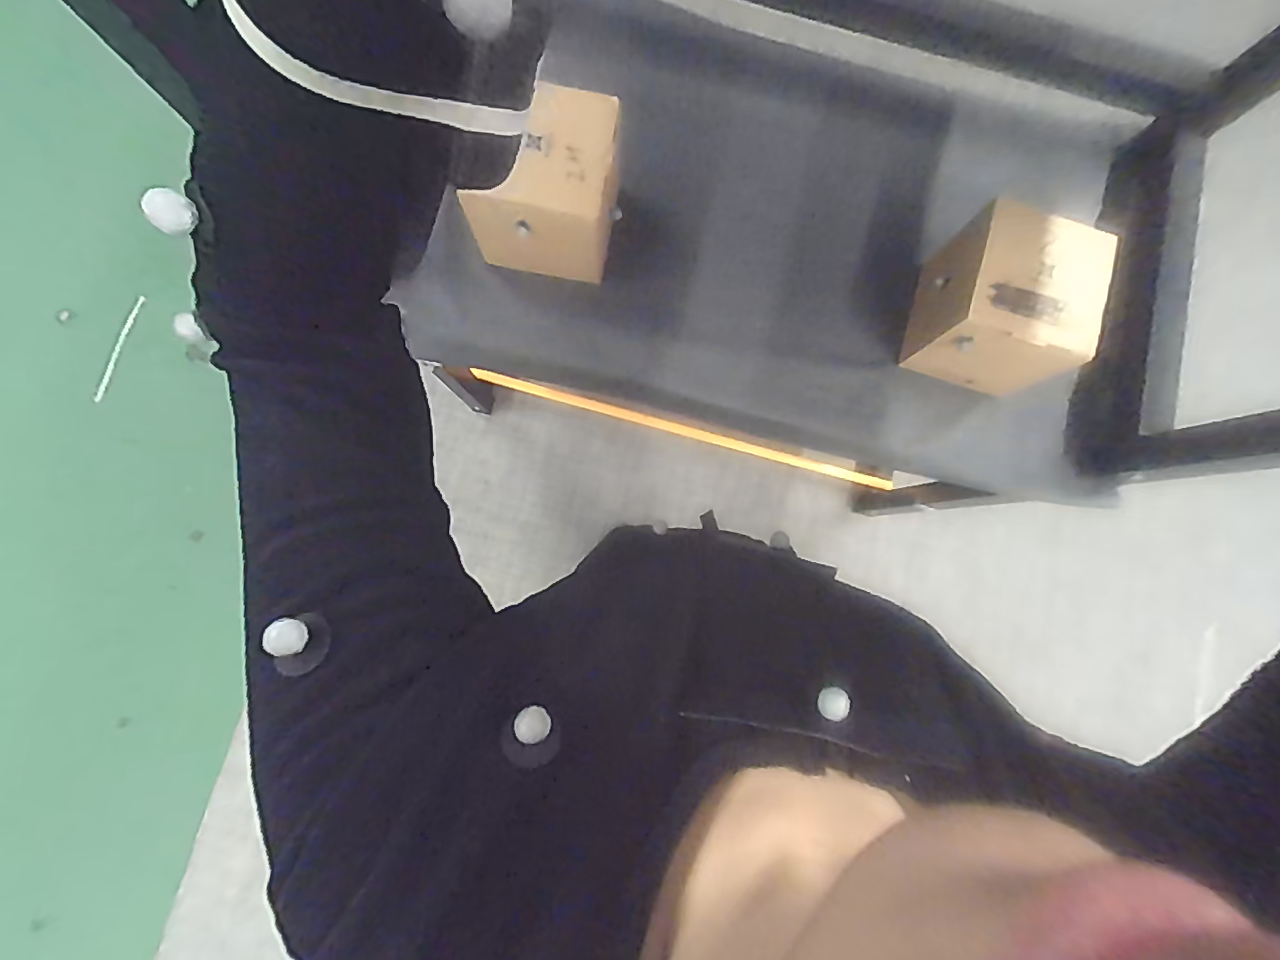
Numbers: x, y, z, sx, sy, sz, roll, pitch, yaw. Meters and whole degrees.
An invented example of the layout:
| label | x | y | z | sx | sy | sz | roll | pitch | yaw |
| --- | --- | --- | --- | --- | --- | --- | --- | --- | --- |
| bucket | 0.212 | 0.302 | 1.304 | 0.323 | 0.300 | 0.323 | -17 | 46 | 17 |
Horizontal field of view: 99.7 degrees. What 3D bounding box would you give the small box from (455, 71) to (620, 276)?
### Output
| label | x | y | z | sx | sy | sz | roll | pitch | yaw |
| --- | --- | --- | --- | --- | --- | --- | --- | --- | --- |
| small box | -0.128 | -0.403 | 0.741 | 0.179 | 0.176 | 0.168 | 11 | 83 | -2 |
